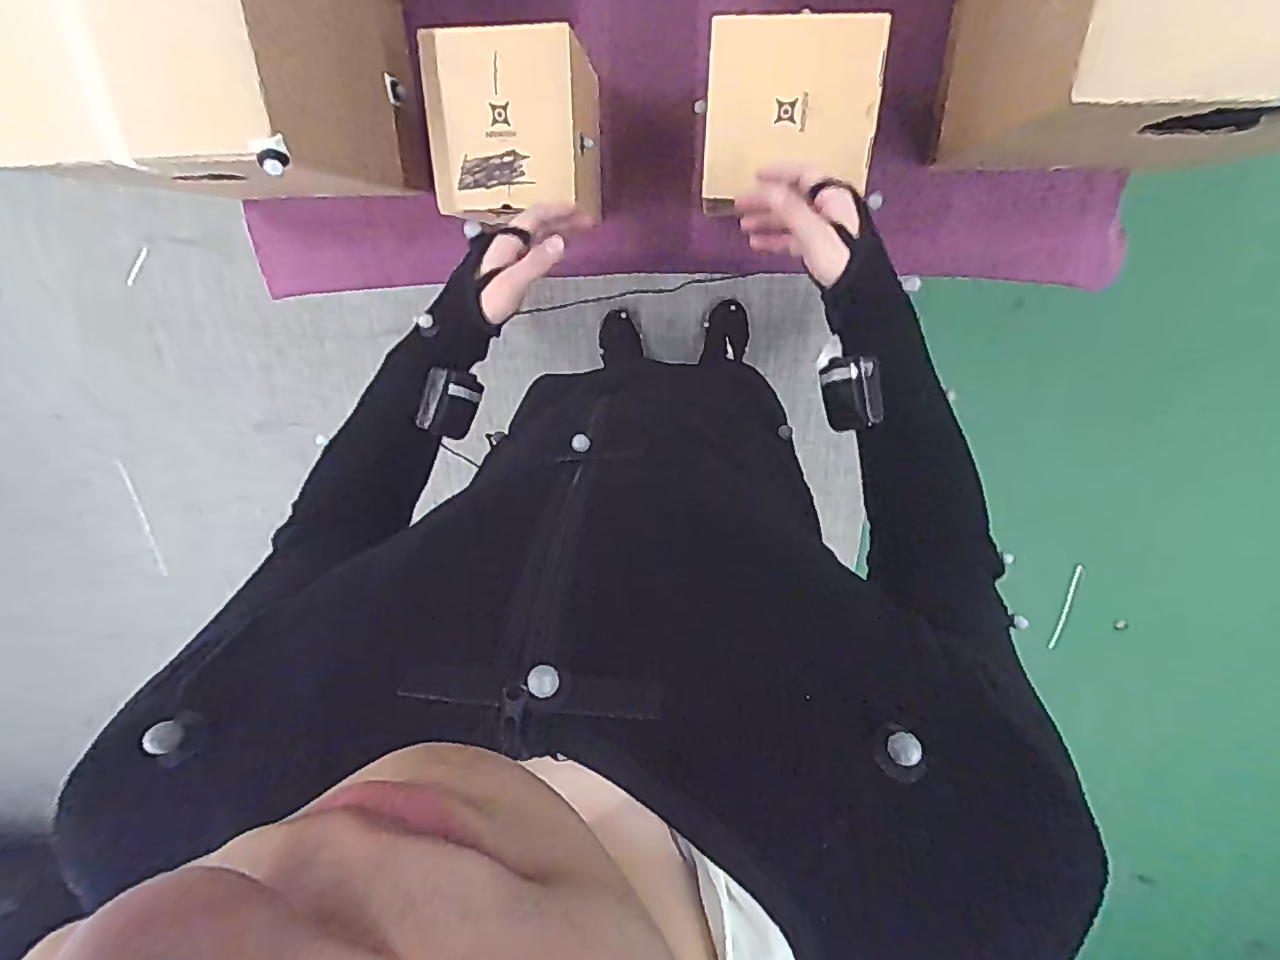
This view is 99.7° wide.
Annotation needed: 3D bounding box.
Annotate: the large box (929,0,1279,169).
[{"bbox_3d":[0.502,-0.522,0.473,0.320,0.320,0.408,3,113,7],"label":"large box"}]
